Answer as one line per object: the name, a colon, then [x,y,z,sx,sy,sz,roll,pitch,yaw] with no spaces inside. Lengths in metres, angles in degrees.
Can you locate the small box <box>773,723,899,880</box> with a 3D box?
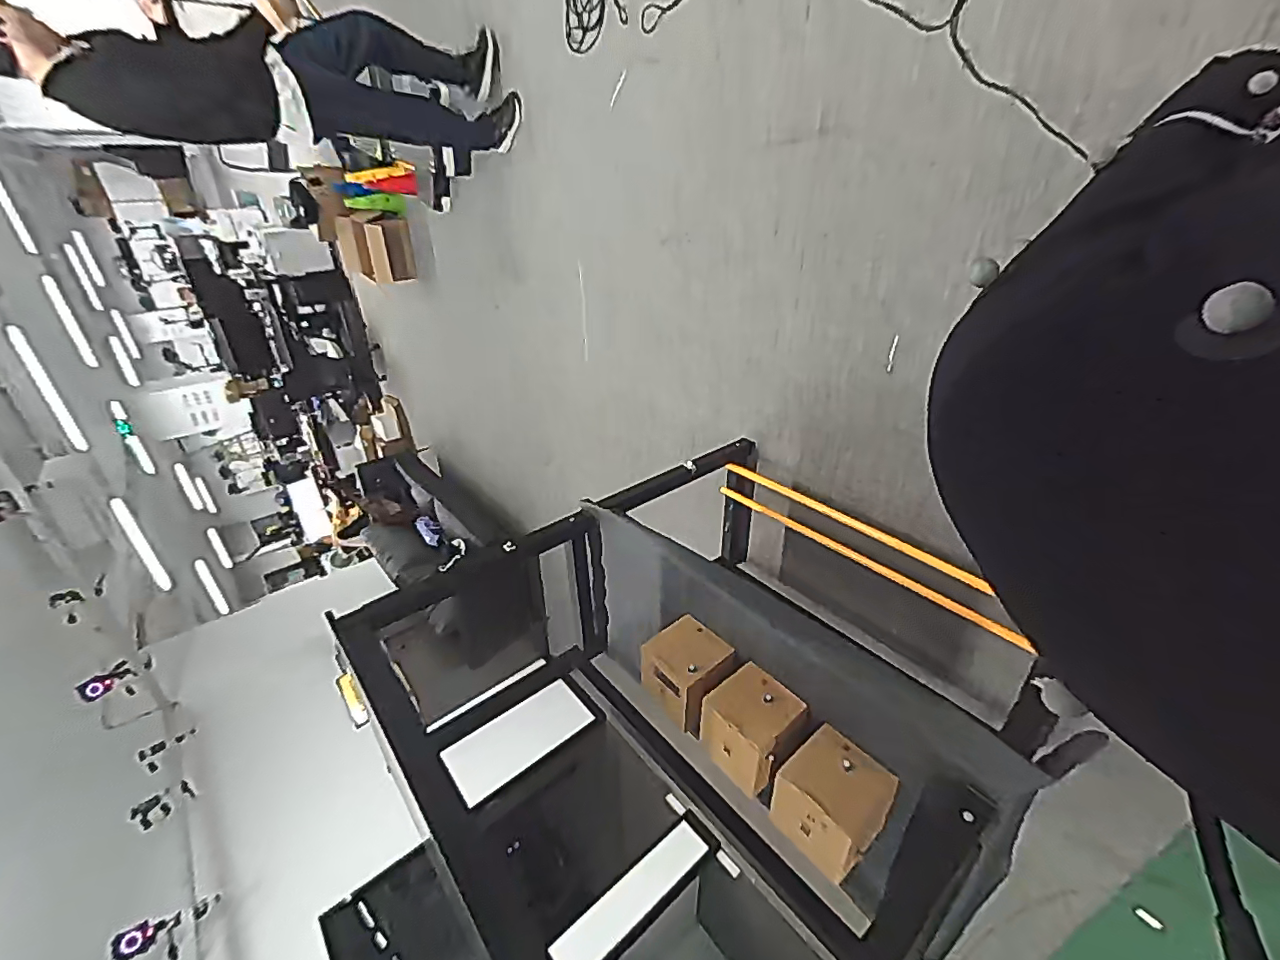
small box: [0.393,0.639,1.091,0.168,0.176,0.179,30,133,42]
